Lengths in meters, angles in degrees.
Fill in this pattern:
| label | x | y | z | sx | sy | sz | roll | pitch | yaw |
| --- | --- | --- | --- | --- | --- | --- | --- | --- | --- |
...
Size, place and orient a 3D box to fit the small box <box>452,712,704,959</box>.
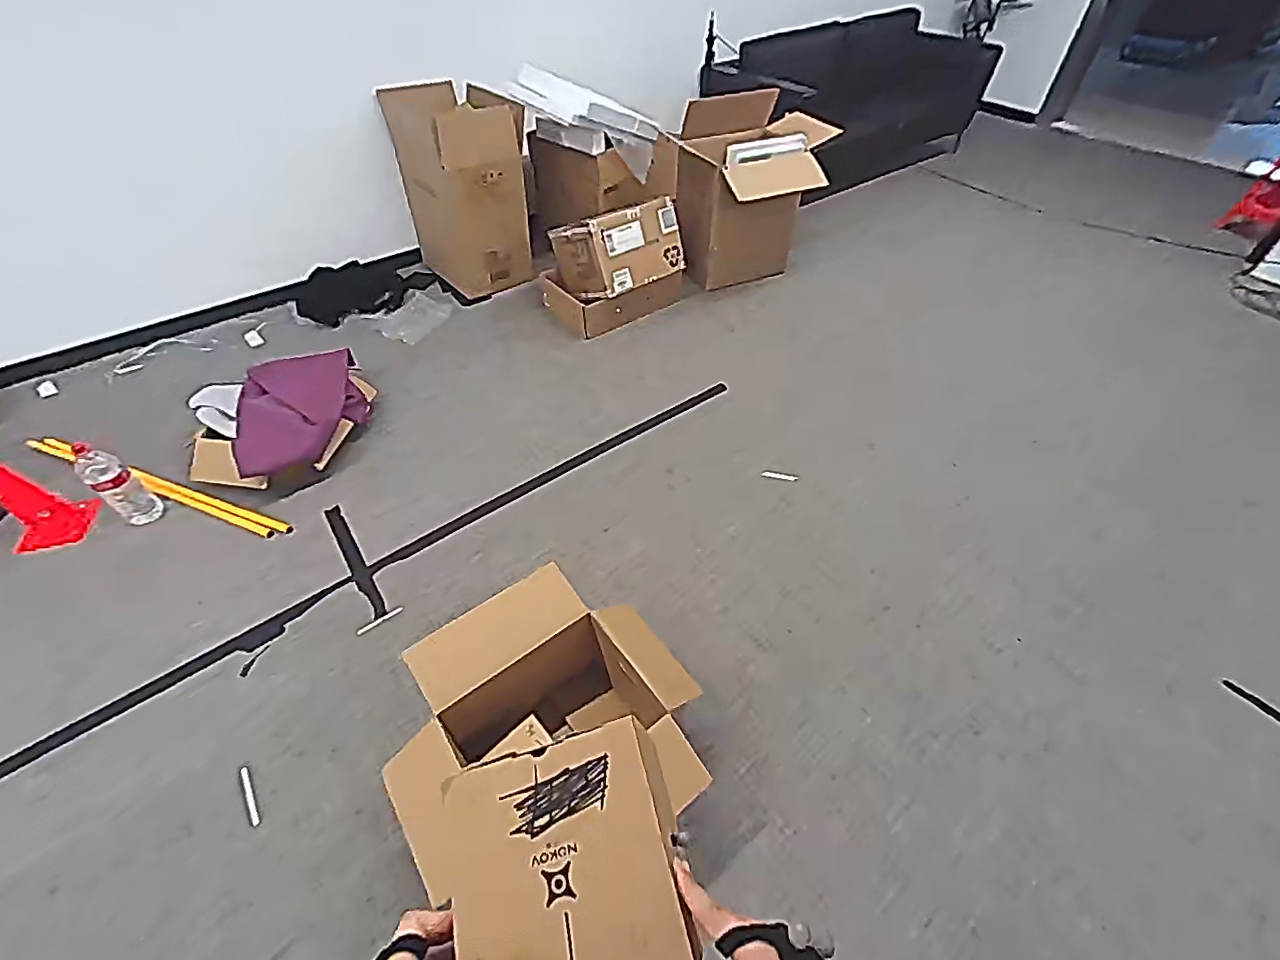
| label | x | y | z | sx | sy | sz | roll | pitch | yaw |
| --- | --- | --- | --- | --- | --- | --- | --- | --- | --- |
| small box | -0.048 | 0.328 | 0.476 | 0.168 | 0.176 | 0.179 | -17 | 59 | -2 |
